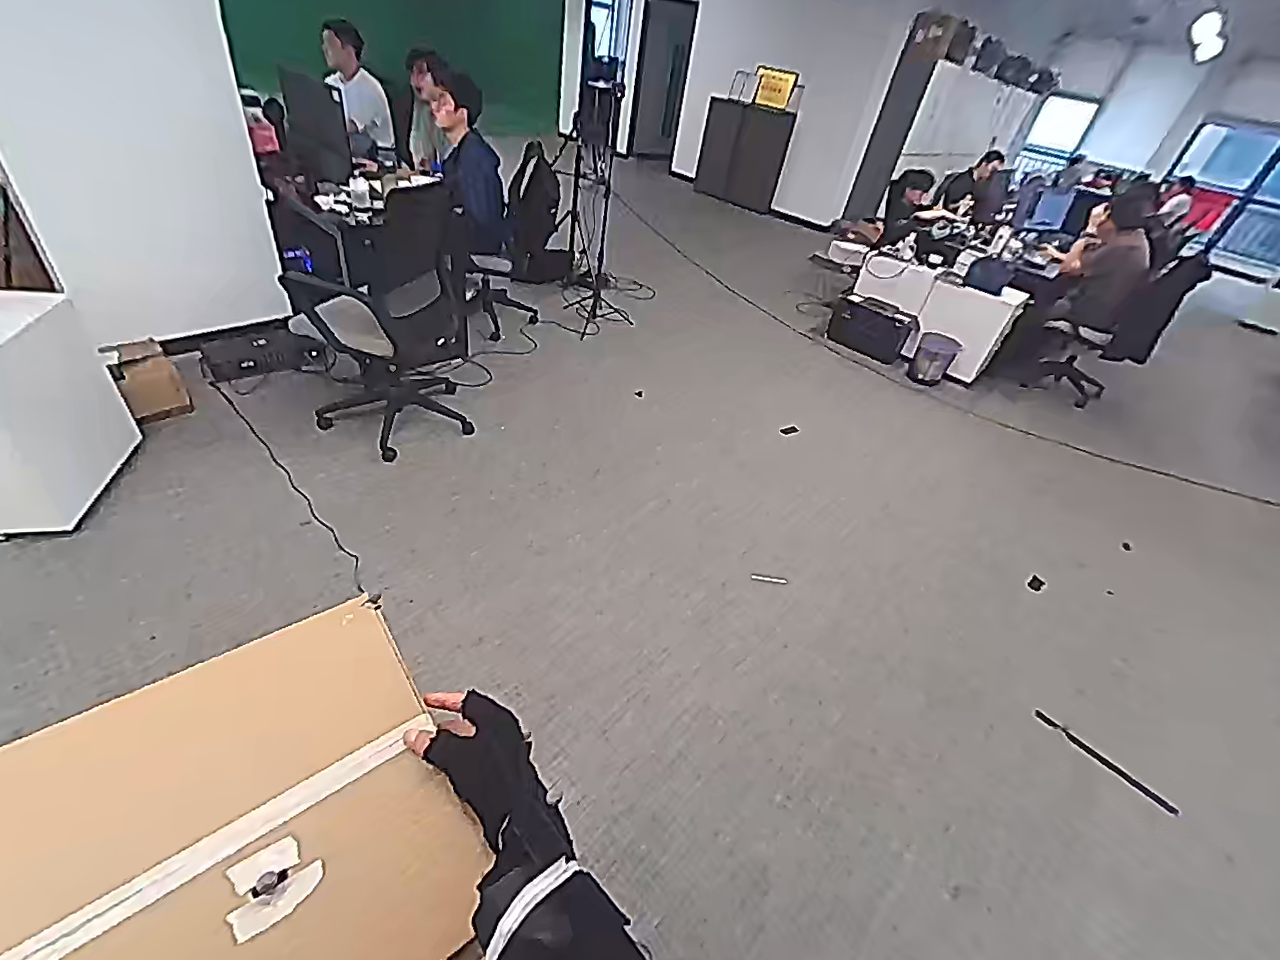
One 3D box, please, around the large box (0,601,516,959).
[{"bbox_3d":[-0.371,0.392,0.495,0.408,0.320,0.320,-22,57,-33],"label":"large box"}]
